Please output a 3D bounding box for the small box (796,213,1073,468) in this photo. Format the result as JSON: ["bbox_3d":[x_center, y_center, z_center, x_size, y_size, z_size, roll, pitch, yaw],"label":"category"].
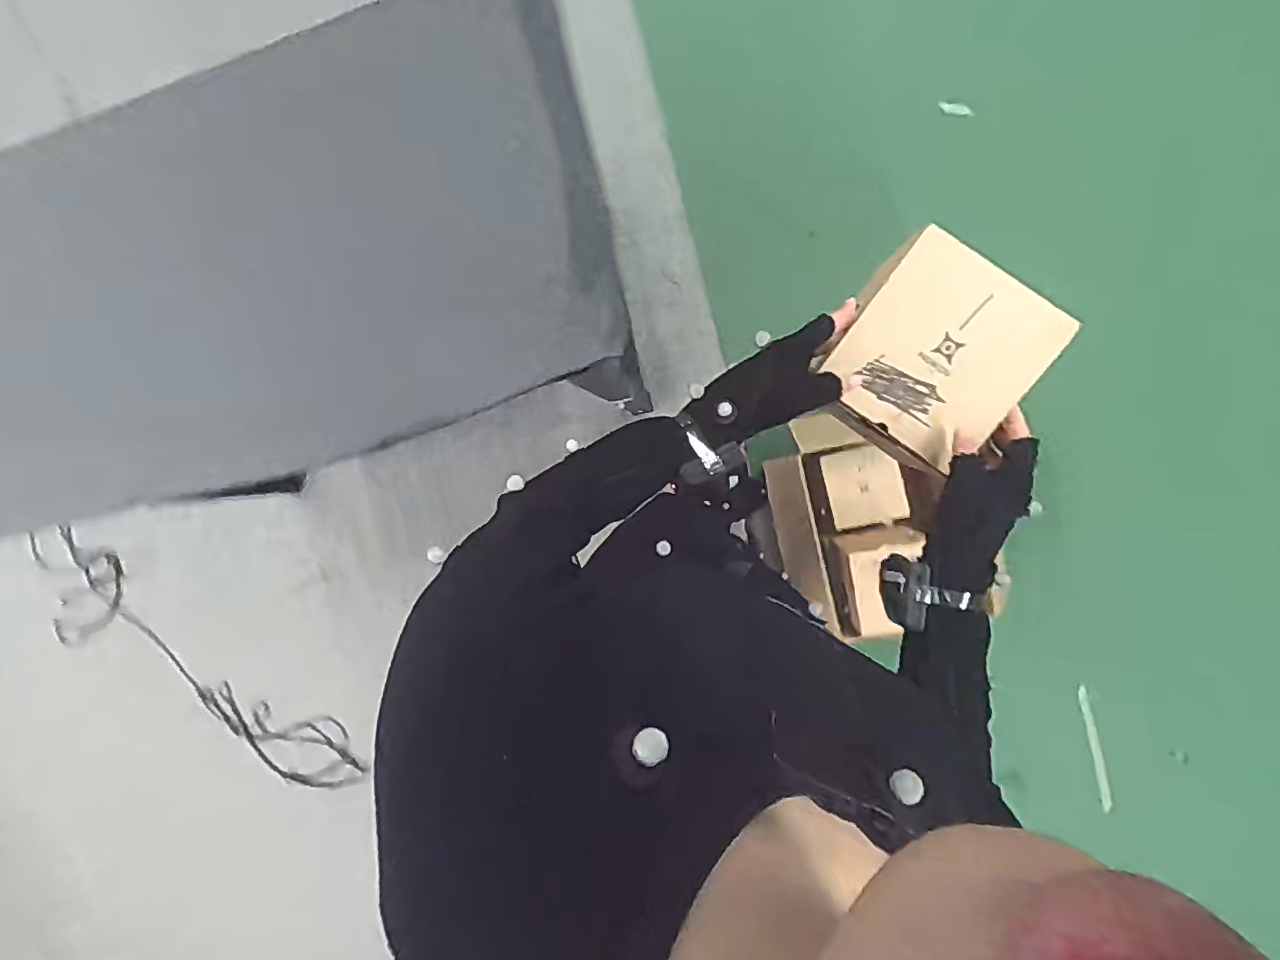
[{"bbox_3d":[0.284,-0.136,0.576,0.168,0.176,0.179,35,102,2],"label":"small box"}]
